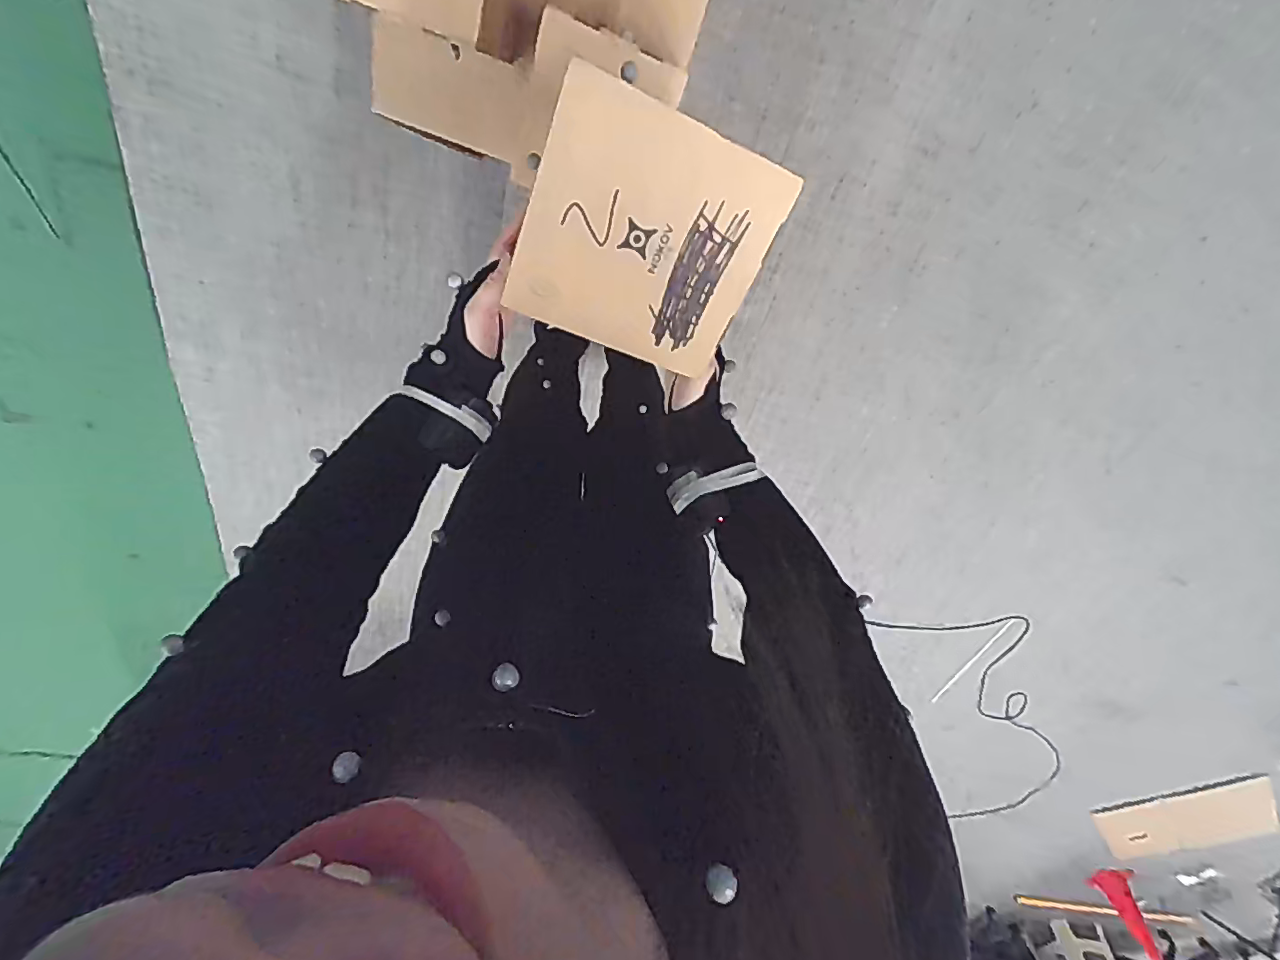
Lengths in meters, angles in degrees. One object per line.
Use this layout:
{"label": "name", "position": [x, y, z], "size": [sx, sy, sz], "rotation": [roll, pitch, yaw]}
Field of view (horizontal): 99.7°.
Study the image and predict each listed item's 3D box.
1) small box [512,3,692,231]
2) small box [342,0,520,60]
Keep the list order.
{"label": "small box", "position": [-0.050, -0.448, 0.686], "size": [0.168, 0.176, 0.179], "rotation": [18, 122, -11]}
{"label": "small box", "position": [-0.222, -0.596, 0.593], "size": [0.168, 0.176, 0.179], "rotation": [16, 122, -10]}
